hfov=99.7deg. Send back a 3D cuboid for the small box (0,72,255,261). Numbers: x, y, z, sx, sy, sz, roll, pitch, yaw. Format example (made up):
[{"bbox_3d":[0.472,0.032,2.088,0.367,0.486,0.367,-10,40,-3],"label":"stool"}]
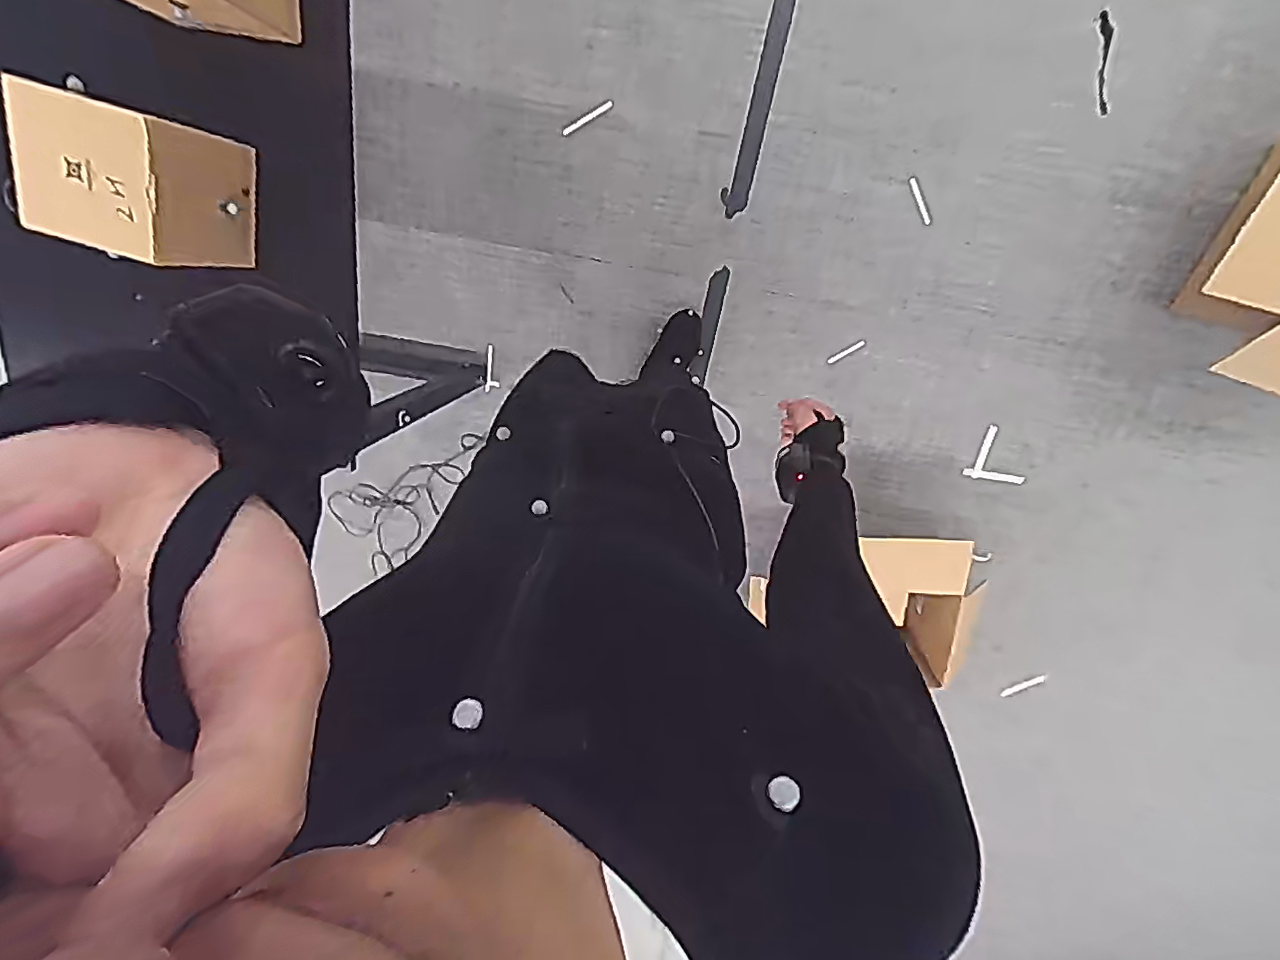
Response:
[{"bbox_3d":[-0.657,-0.394,0.715,0.179,0.176,0.168,16,112,-1],"label":"small box"}]
